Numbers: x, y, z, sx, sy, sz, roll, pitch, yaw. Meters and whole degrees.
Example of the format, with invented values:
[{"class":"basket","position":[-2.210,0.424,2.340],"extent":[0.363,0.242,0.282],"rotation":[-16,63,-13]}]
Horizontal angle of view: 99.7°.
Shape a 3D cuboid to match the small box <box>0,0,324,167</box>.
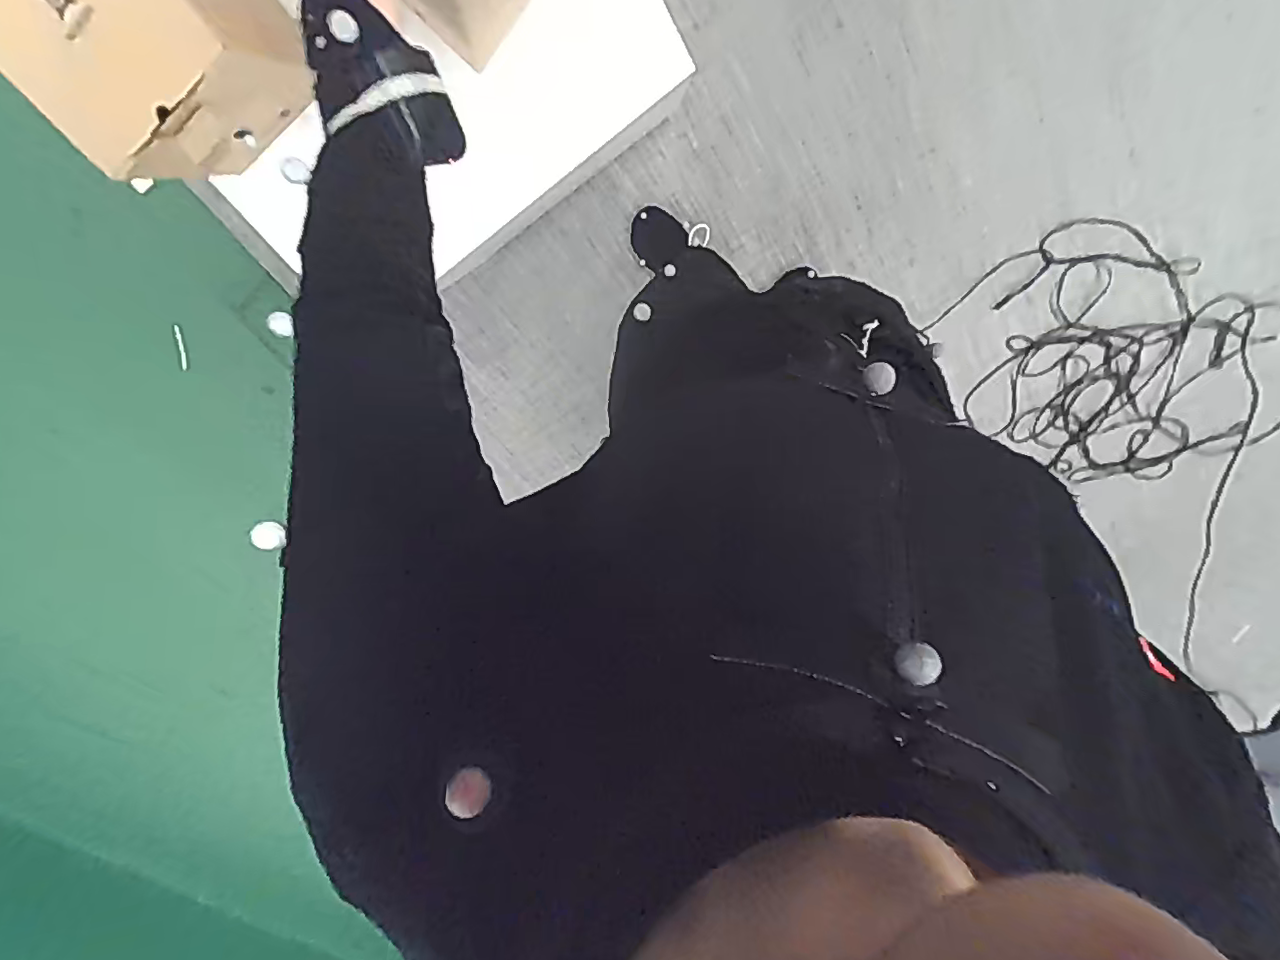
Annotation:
[{"class":"small box","position":[-0.428,-0.401,0.467],"extent":[0.168,0.176,0.179],"rotation":[-29,118,17]}]
